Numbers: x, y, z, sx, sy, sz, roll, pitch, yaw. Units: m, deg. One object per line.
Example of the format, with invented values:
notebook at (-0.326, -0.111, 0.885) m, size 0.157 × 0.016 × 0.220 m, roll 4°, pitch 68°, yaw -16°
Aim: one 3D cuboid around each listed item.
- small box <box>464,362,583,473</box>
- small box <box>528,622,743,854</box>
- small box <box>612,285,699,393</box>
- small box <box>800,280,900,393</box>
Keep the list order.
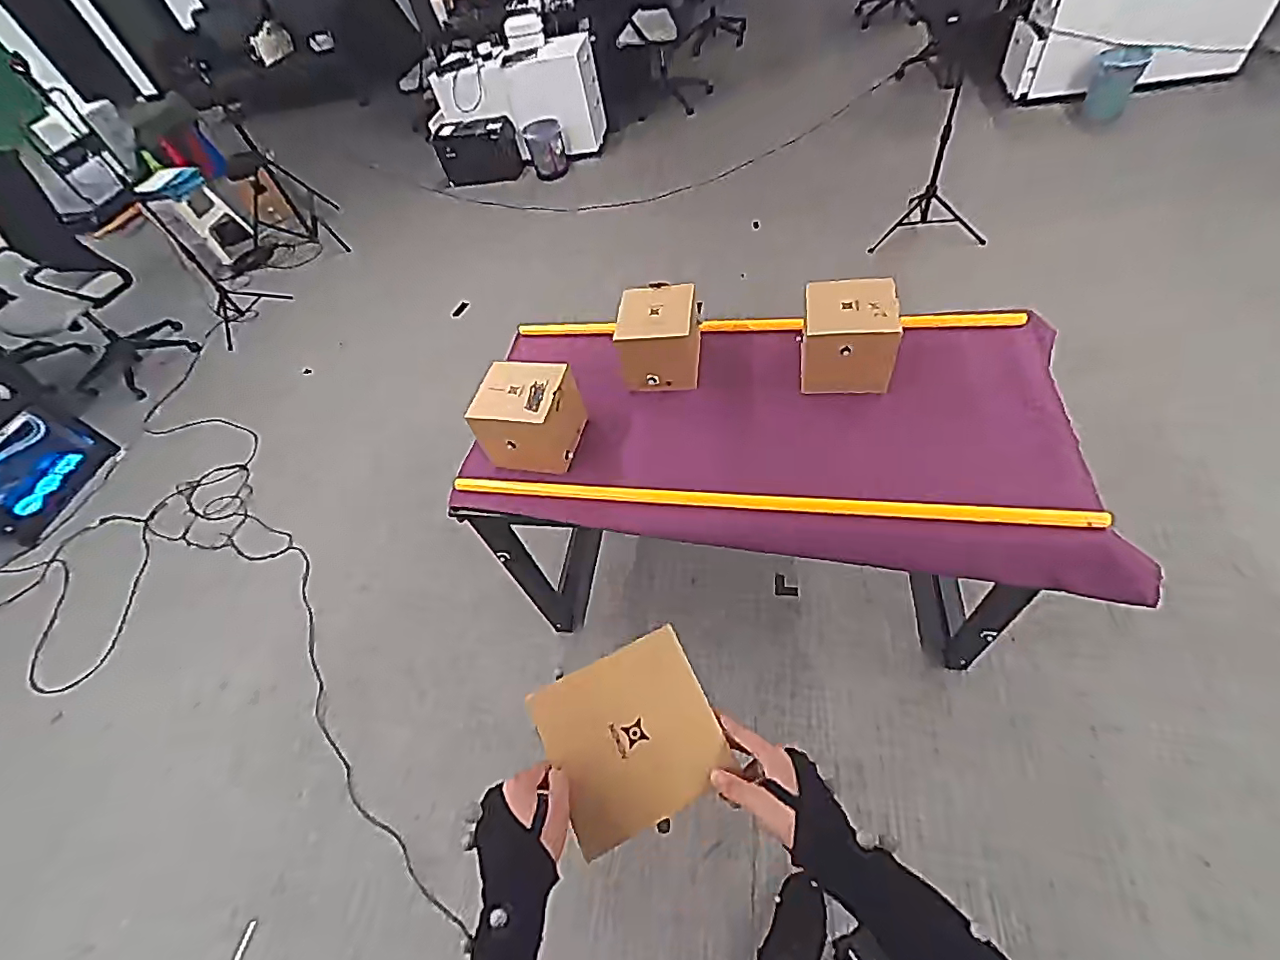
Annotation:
small box at (-0.237, -0.130, 1.155) m, size 0.179 × 0.176 × 0.168 m, roll 6°, pitch 56°, yaw 15°
small box at (-0.007, 0.282, 0.628) m, size 0.179 × 0.176 × 0.168 m, roll -25°, pitch 71°, yaw -7°
small box at (0.043, -0.320, 1.240) m, size 0.168 × 0.176 × 0.179 m, roll 0°, pitch 55°, yaw 13°
small box at (0.431, -0.297, 1.139) m, size 0.179 × 0.176 × 0.168 m, roll 2°, pitch 56°, yaw 13°
